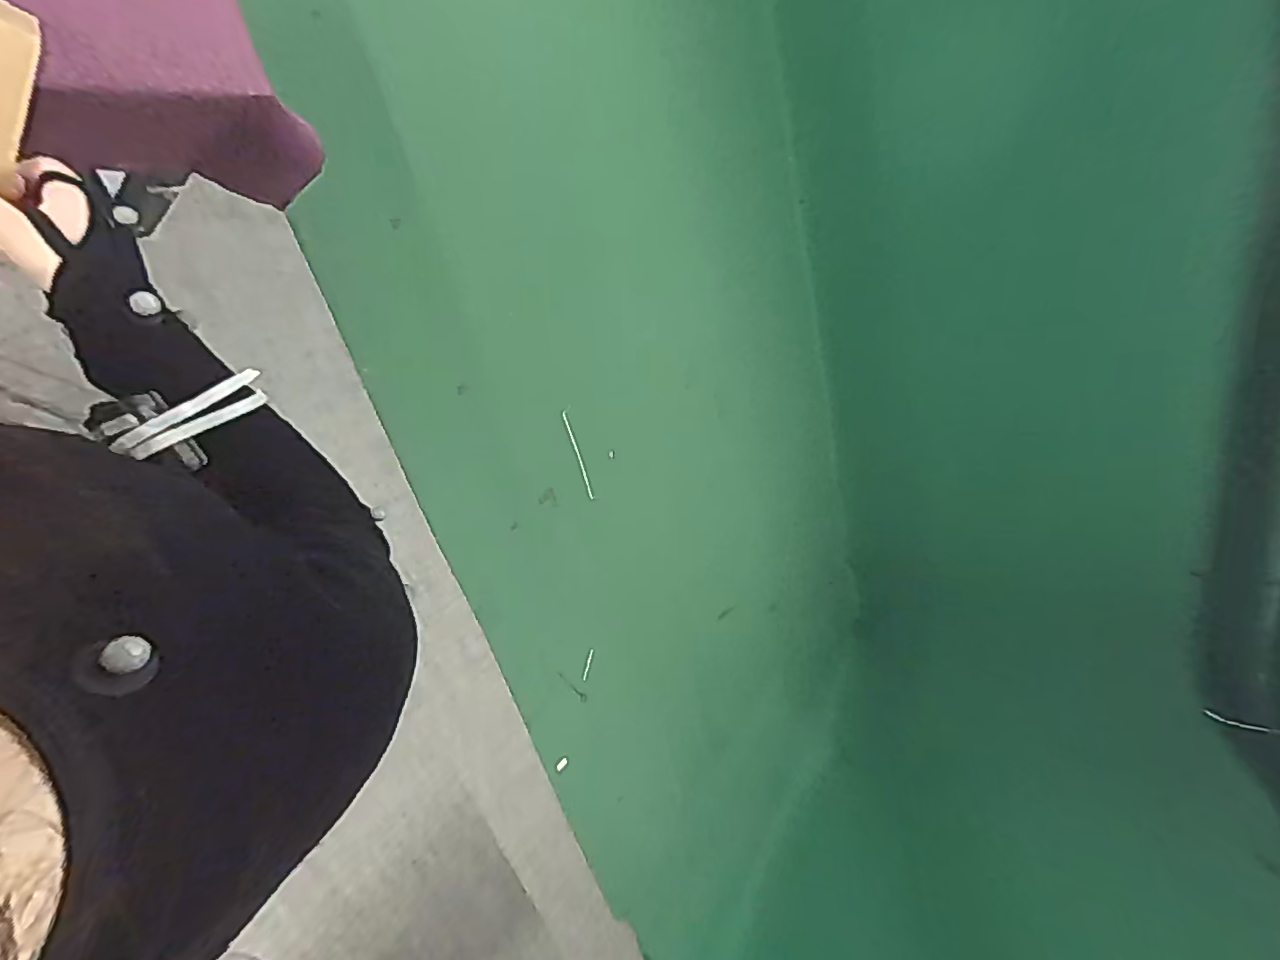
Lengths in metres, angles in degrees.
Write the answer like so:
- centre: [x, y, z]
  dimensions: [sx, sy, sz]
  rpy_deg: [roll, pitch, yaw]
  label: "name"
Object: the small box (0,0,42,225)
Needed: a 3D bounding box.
- centre: [-0.504, -0.254, 0.331]
  dimensions: [0.168, 0.176, 0.179]
  rpy_deg: [11, 114, -53]
  label: "small box"
